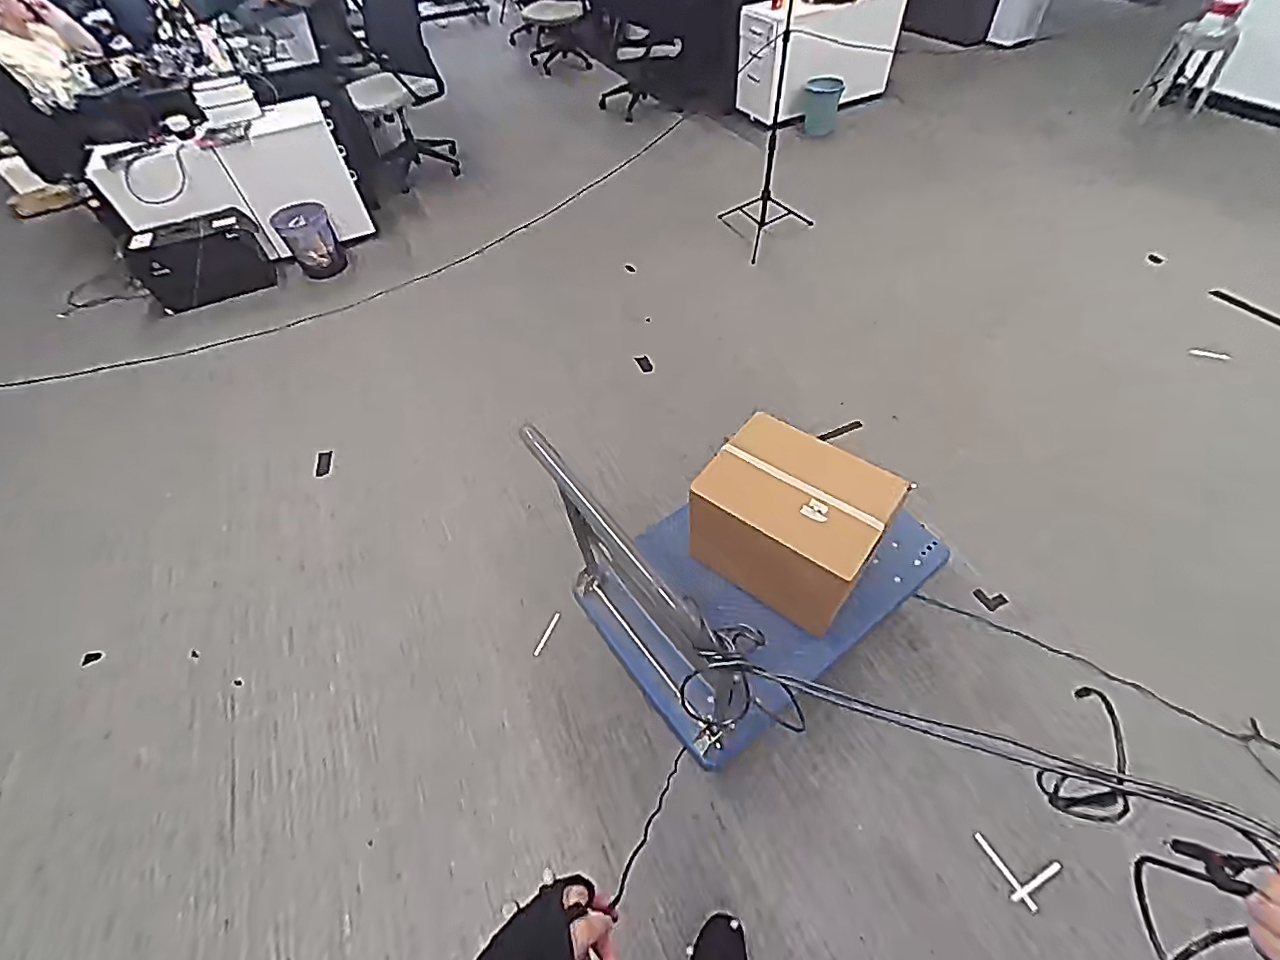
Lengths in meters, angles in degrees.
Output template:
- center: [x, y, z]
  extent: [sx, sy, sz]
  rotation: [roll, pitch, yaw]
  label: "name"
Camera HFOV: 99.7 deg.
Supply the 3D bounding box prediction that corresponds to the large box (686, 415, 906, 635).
- center: [0.363, 0.108, 1.352]
  extent: [0.408, 0.320, 0.320]
  rotation: [31, 61, 24]
  label: "large box"
